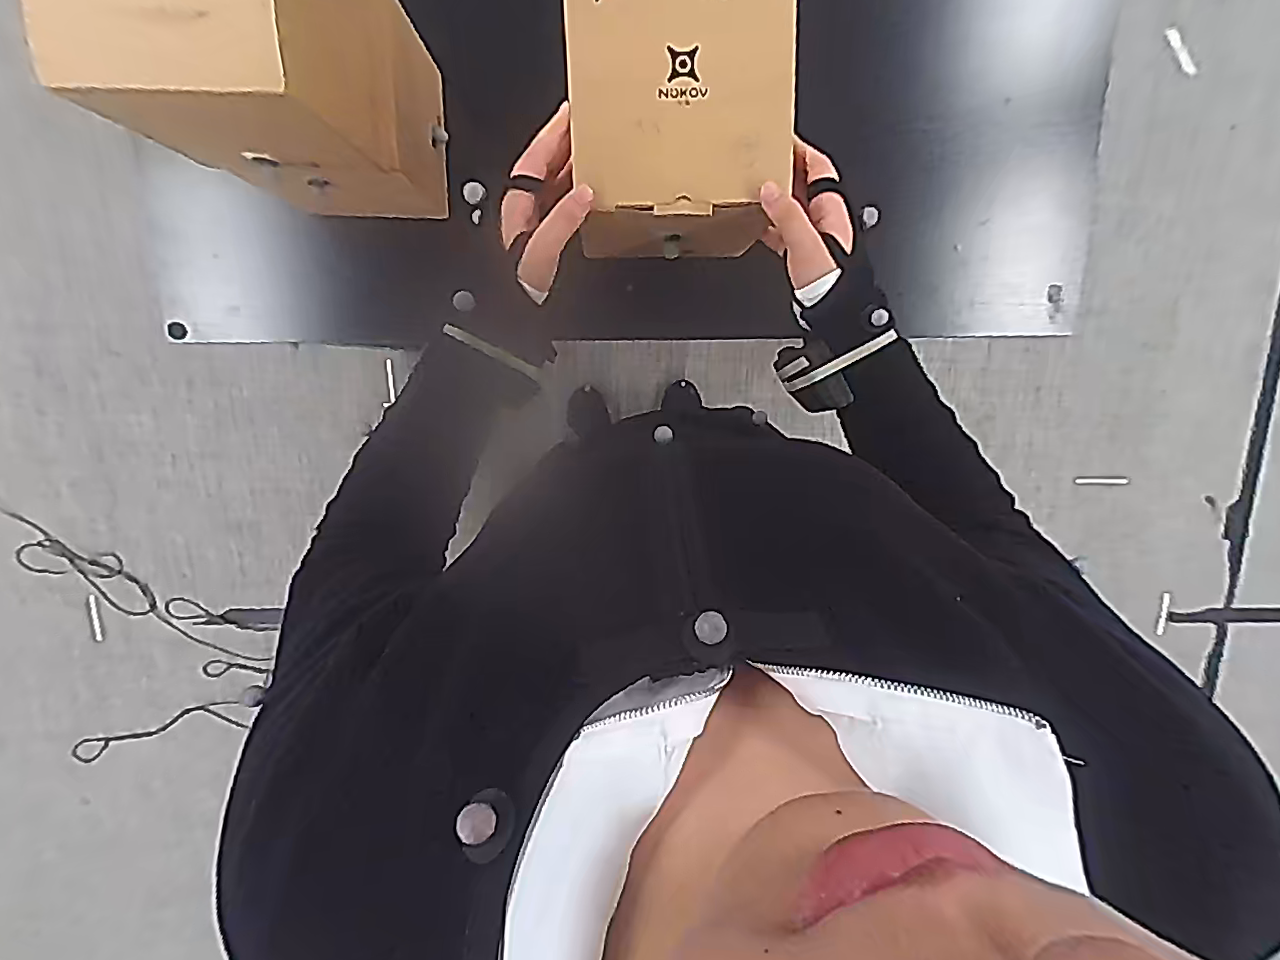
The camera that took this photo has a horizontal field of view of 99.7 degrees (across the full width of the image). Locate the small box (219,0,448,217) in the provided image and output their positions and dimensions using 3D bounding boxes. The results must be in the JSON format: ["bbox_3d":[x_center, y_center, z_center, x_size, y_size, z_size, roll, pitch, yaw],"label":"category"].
[{"bbox_3d":[-0.324,-0.397,0.587,0.179,0.176,0.168,0,101,-3],"label":"small box"}]

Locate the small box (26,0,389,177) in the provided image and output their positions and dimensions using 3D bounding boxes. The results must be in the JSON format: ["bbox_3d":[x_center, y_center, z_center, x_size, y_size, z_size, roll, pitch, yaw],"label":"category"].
[{"bbox_3d":[-0.320,-0.365,0.428,0.168,0.176,0.179,-1,102,-1],"label":"small box"}]

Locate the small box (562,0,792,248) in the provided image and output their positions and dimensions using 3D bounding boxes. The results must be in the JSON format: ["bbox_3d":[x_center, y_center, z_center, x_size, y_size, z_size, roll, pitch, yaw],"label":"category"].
[{"bbox_3d":[0.026,-0.307,0.471,0.168,0.176,0.179,-2,102,-1],"label":"small box"}]
